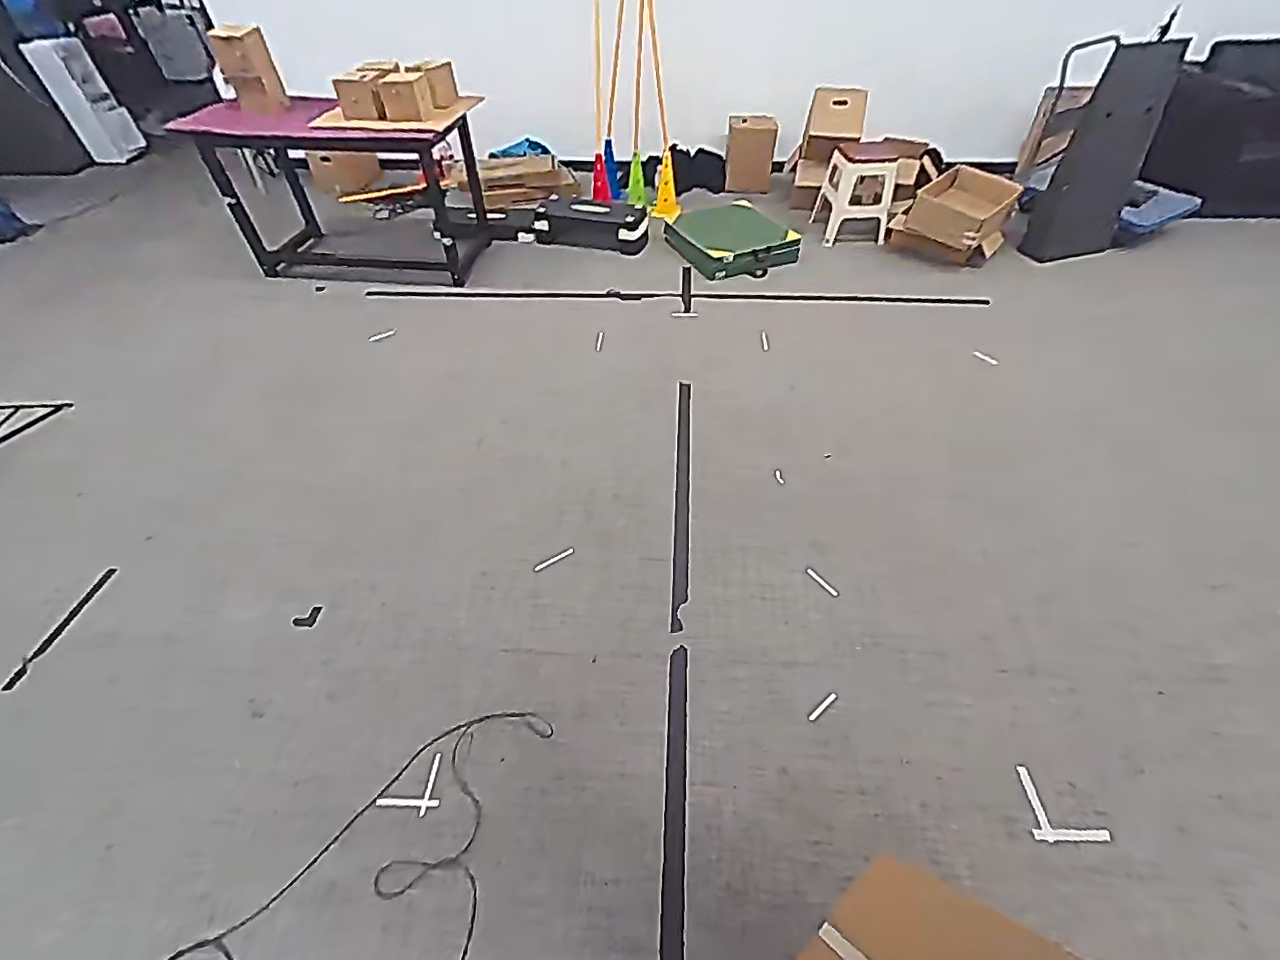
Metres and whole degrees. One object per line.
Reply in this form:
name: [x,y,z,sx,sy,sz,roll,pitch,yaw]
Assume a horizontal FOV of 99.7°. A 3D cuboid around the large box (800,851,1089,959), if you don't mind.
large box: [0.429,0.757,0.649,0.320,0.408,0.320,-39,83,-19]
